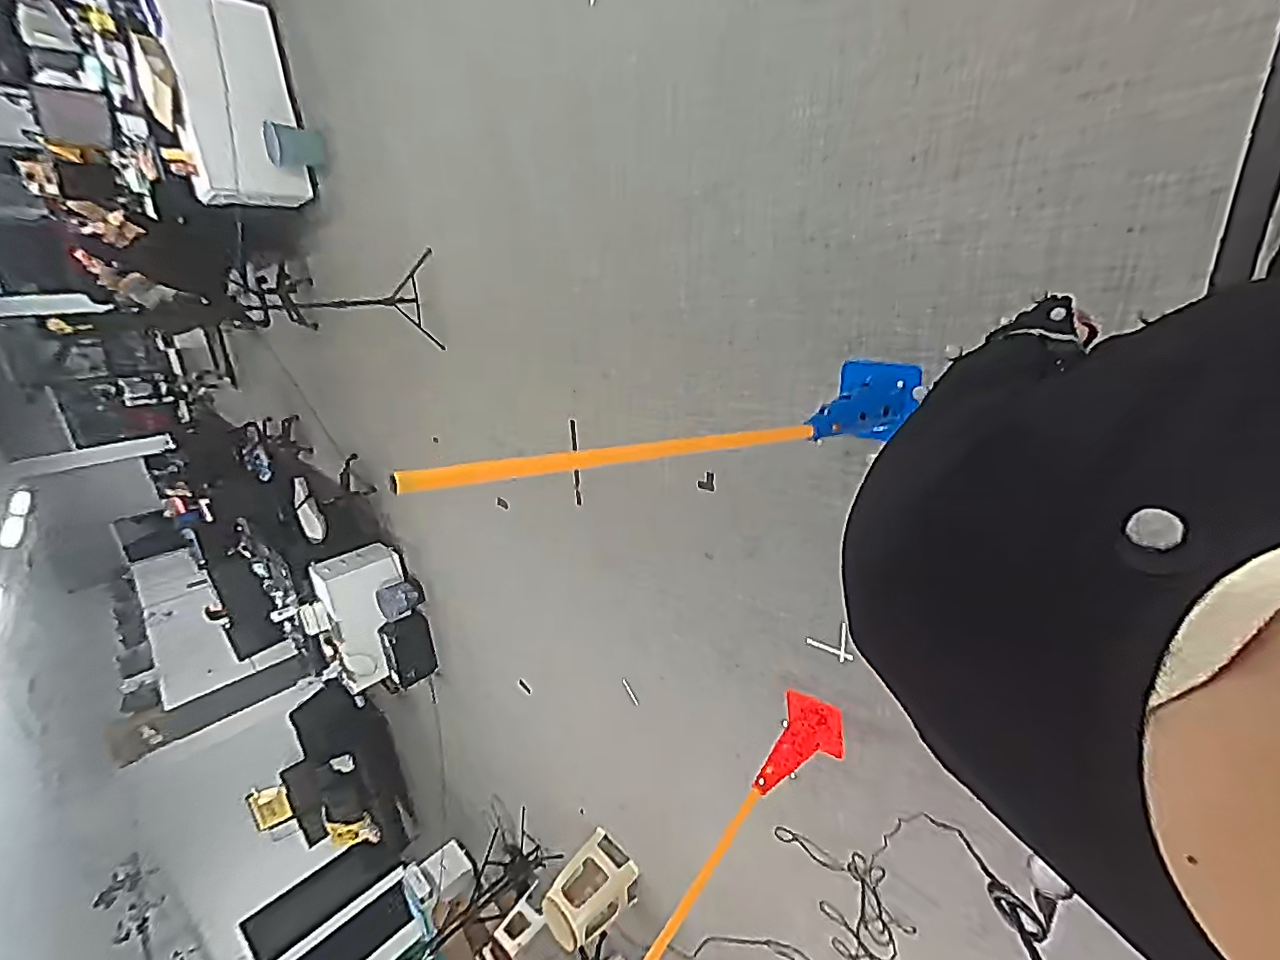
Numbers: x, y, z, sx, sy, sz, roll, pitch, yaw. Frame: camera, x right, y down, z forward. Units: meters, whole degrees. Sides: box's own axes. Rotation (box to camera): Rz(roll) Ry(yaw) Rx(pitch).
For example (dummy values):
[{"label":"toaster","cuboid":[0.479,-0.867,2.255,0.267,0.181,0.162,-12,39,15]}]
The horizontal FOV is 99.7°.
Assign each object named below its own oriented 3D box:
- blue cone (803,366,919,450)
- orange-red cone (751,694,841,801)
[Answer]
[{"label":"blue cone","cuboid":[0.491,-0.144,1.270,0.193,0.380,0.192,19,120,42]},{"label":"orange-red cone","cuboid":[0.464,0.878,1.705,0.199,0.360,0.198,8,112,44]}]
